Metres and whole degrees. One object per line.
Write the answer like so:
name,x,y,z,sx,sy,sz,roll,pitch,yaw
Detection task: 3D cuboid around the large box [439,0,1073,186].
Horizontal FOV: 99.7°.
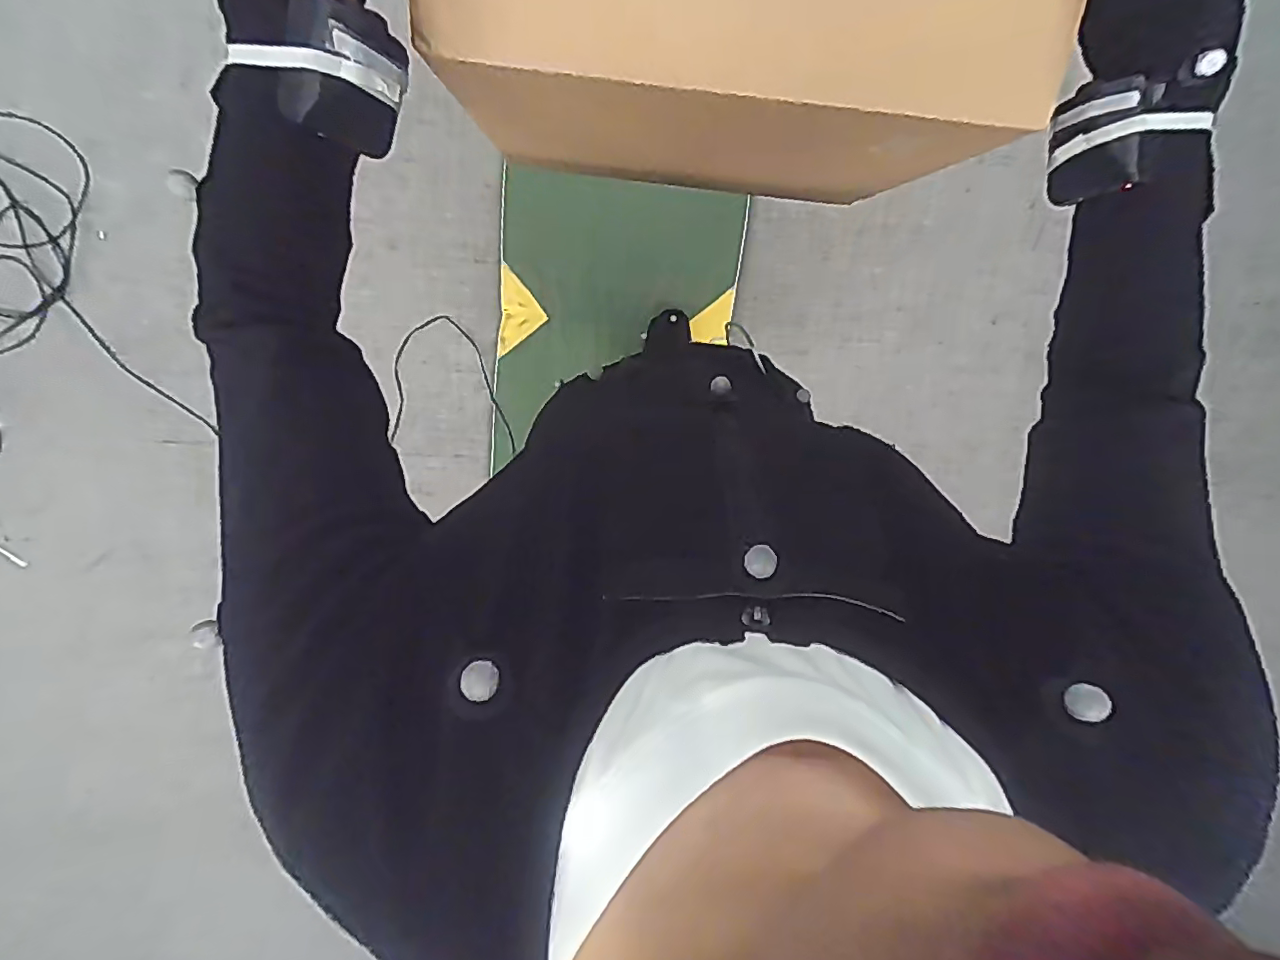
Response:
large box,0.073,-0.450,0.436,0.408,0.320,0.320,3,110,-5
